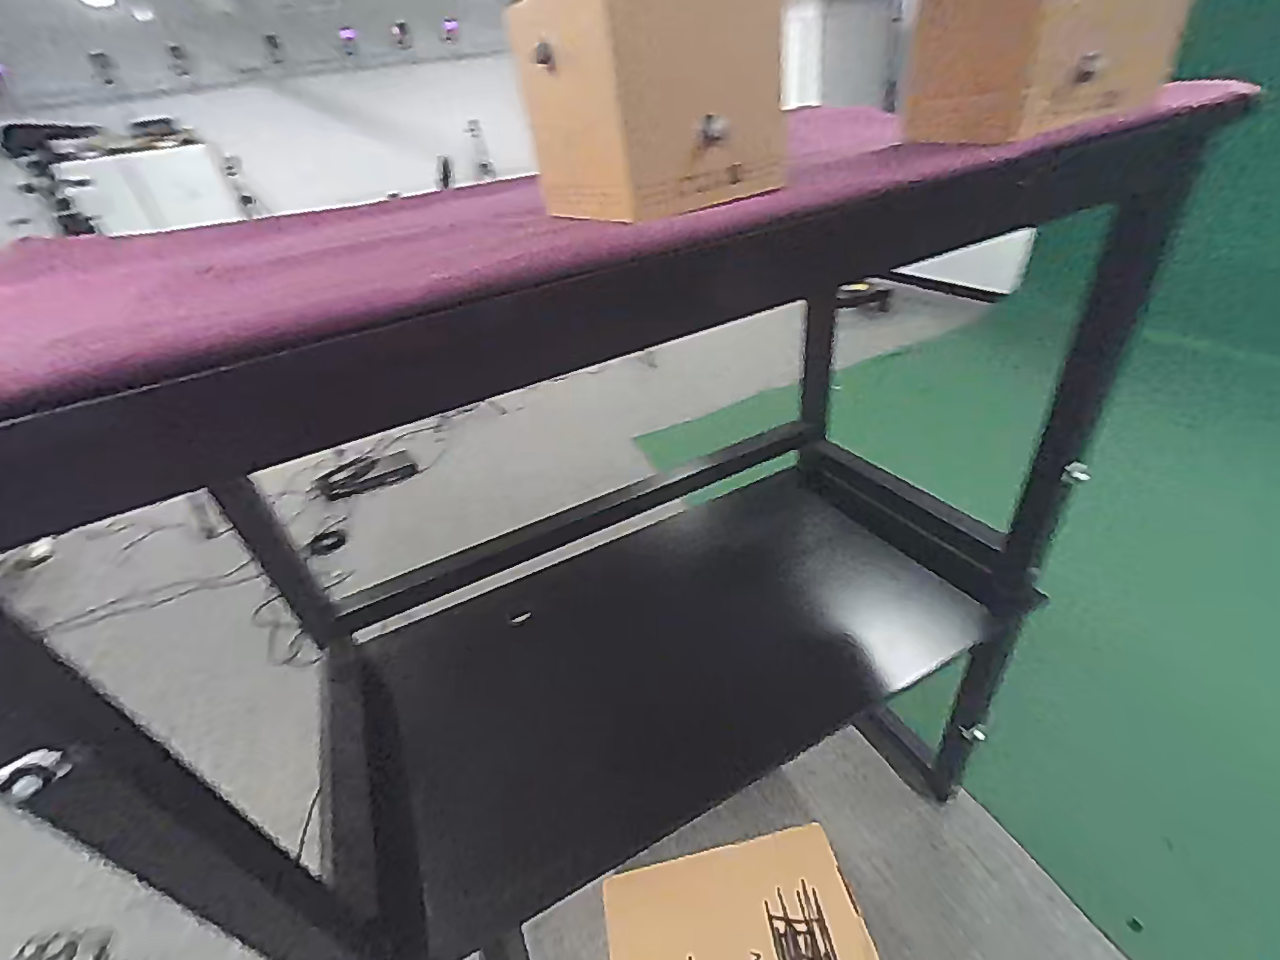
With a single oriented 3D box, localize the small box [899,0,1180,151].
[{"bbox_3d":[0.400,-0.452,0.564,0.168,0.176,0.179,-15,36,-9],"label":"small box"}]
